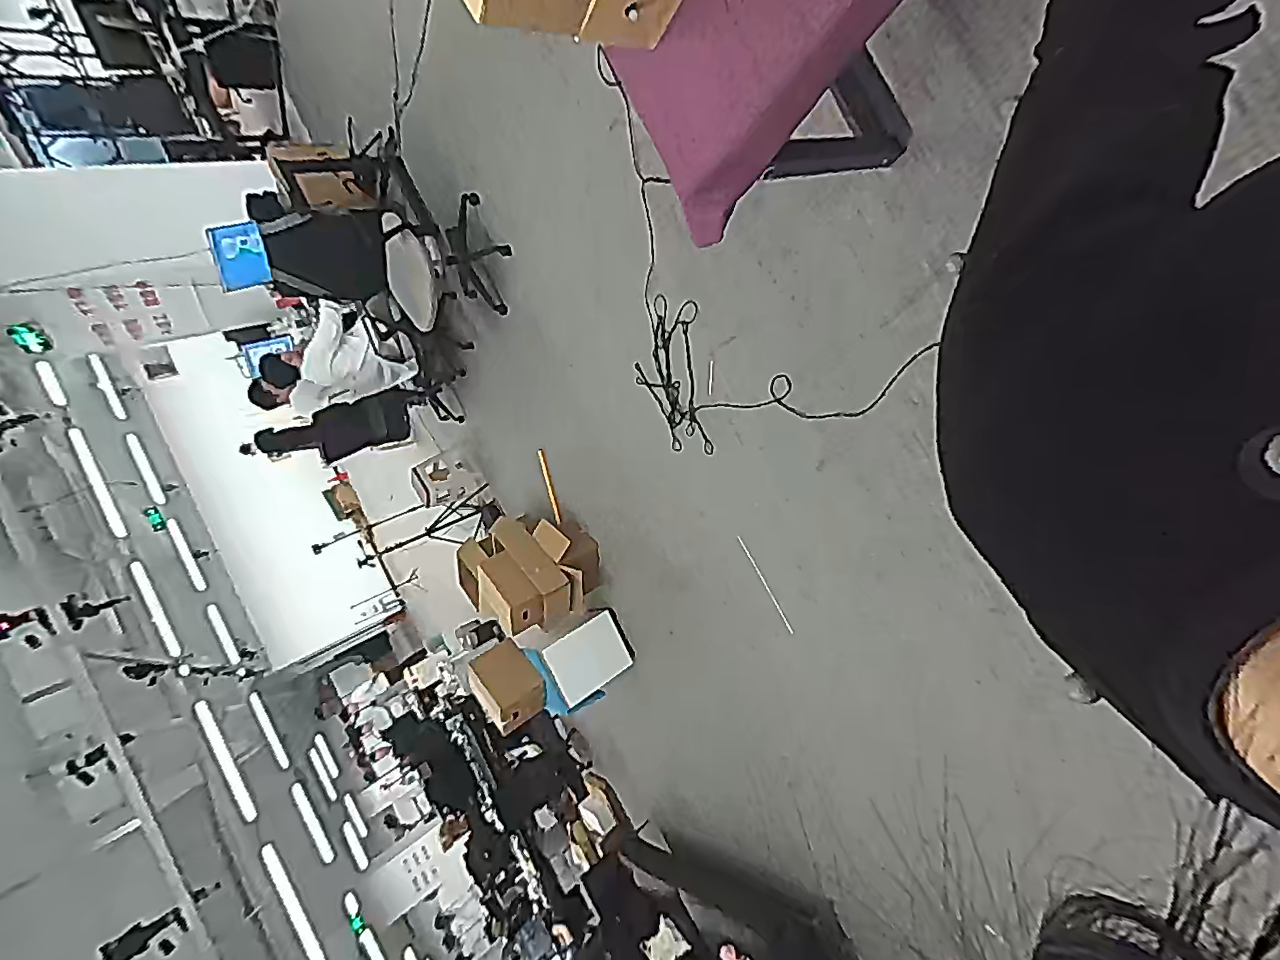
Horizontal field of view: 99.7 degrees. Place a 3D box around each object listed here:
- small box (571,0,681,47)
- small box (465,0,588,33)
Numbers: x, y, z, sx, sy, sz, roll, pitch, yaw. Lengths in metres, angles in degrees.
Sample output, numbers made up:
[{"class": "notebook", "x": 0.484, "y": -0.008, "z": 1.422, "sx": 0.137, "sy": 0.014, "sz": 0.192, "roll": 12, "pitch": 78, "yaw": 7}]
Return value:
[{"class": "small box", "x": -0.029, "y": -0.796, "z": 0.809, "sx": 0.168, "sy": 0.176, "sz": 0.179, "roll": -27, "pitch": 88, "yaw": 58}, {"class": "small box", "x": -0.158, "y": -0.744, "z": 0.721, "sx": 0.179, "sy": 0.176, "sz": 0.168, "roll": 61, "pitch": 147, "yaw": 5}]
